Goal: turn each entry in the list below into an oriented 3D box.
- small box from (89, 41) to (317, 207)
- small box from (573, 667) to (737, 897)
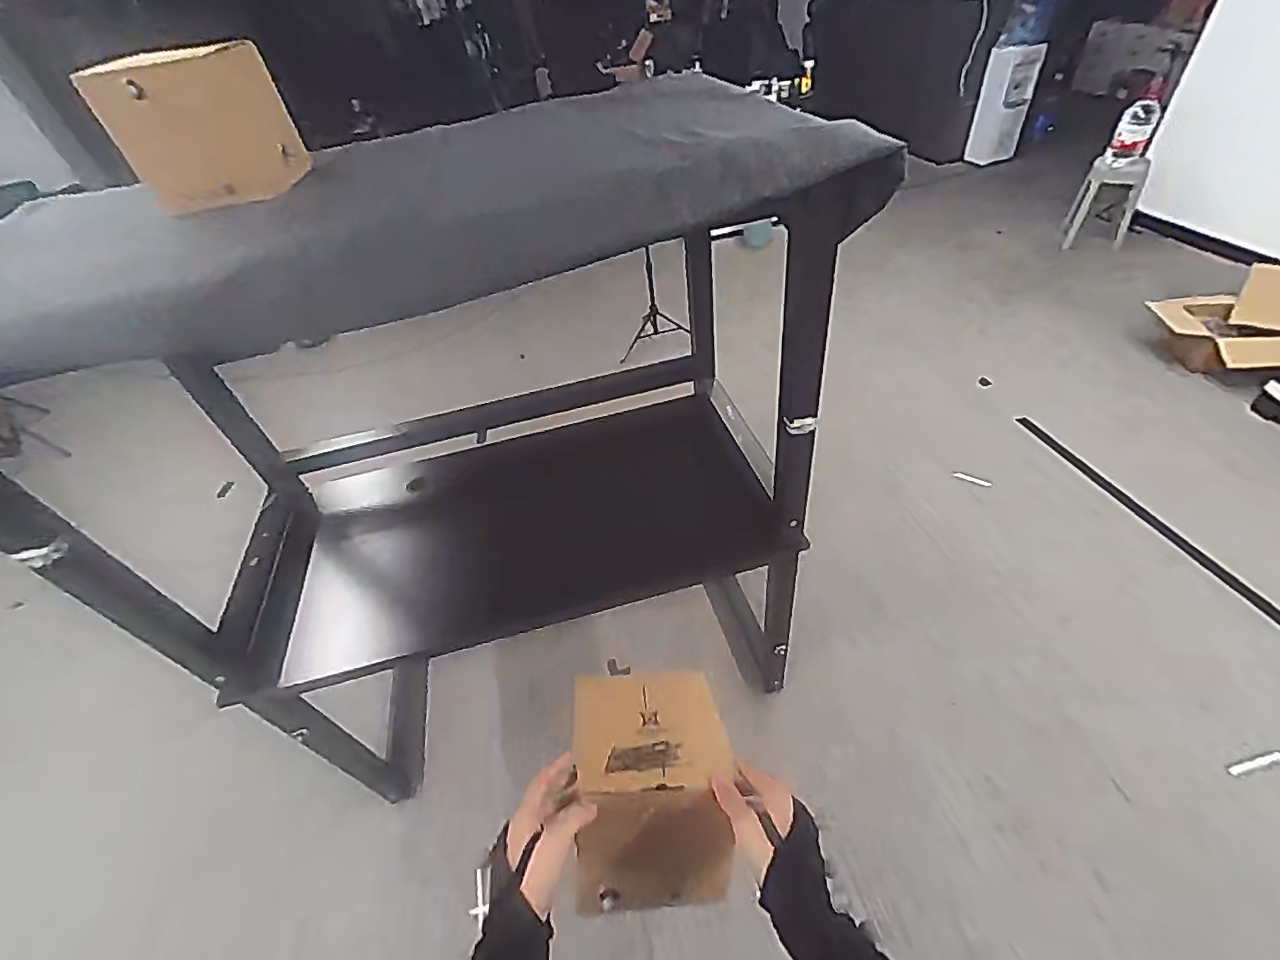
[{"bbox_3d":[-0.608,-0.517,0.787,0.168,0.176,0.179,-11,44,-1],"label":"small box"},{"bbox_3d":[0.006,0.346,0.630,0.168,0.176,0.179,0,18,-8],"label":"small box"}]
